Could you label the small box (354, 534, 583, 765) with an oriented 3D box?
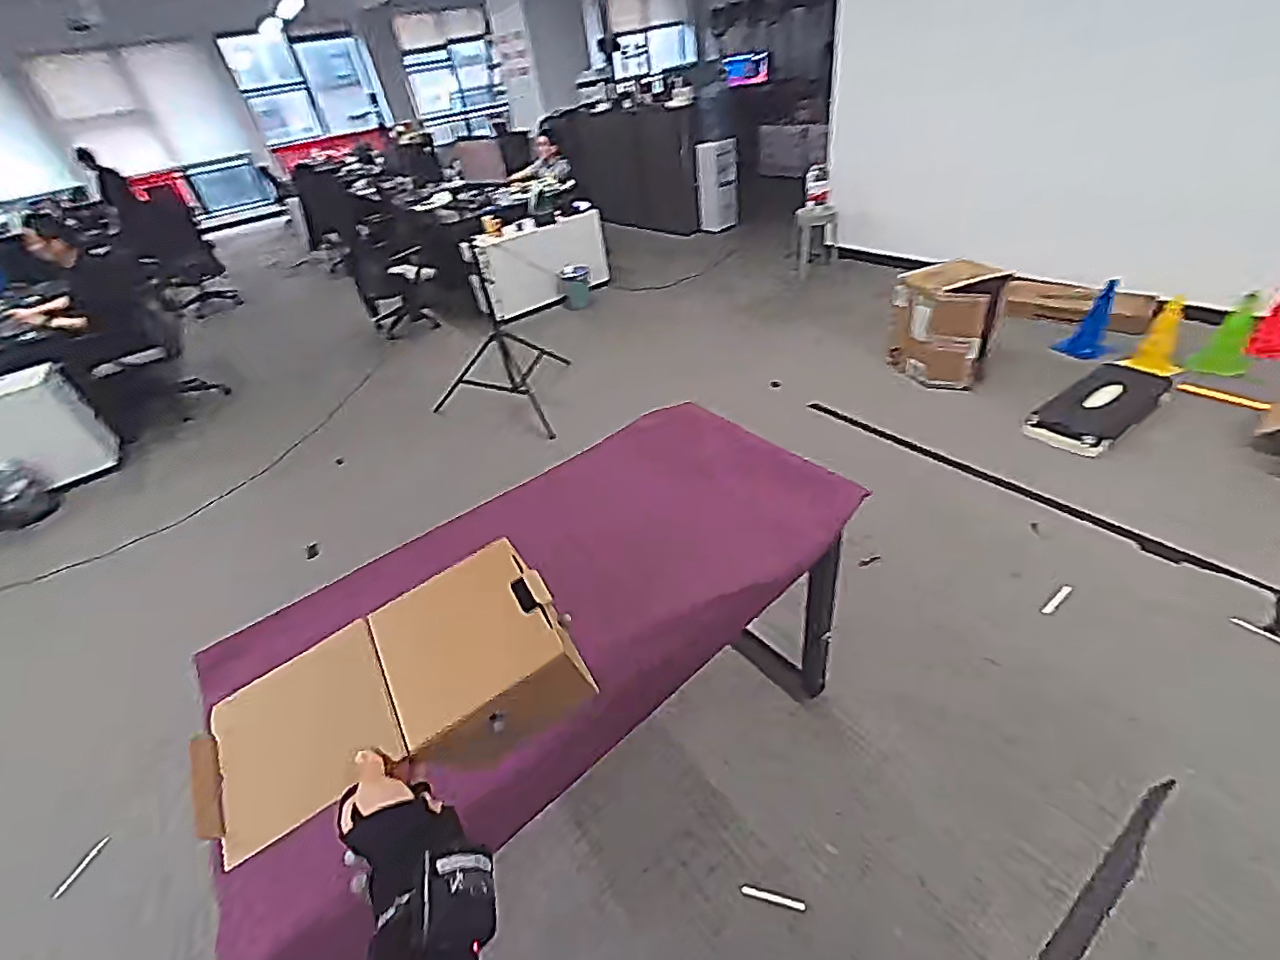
[{"bbox_3d":[-0.190,0.203,0.632,0.179,0.176,0.168,-32,57,-13],"label":"small box"}]
